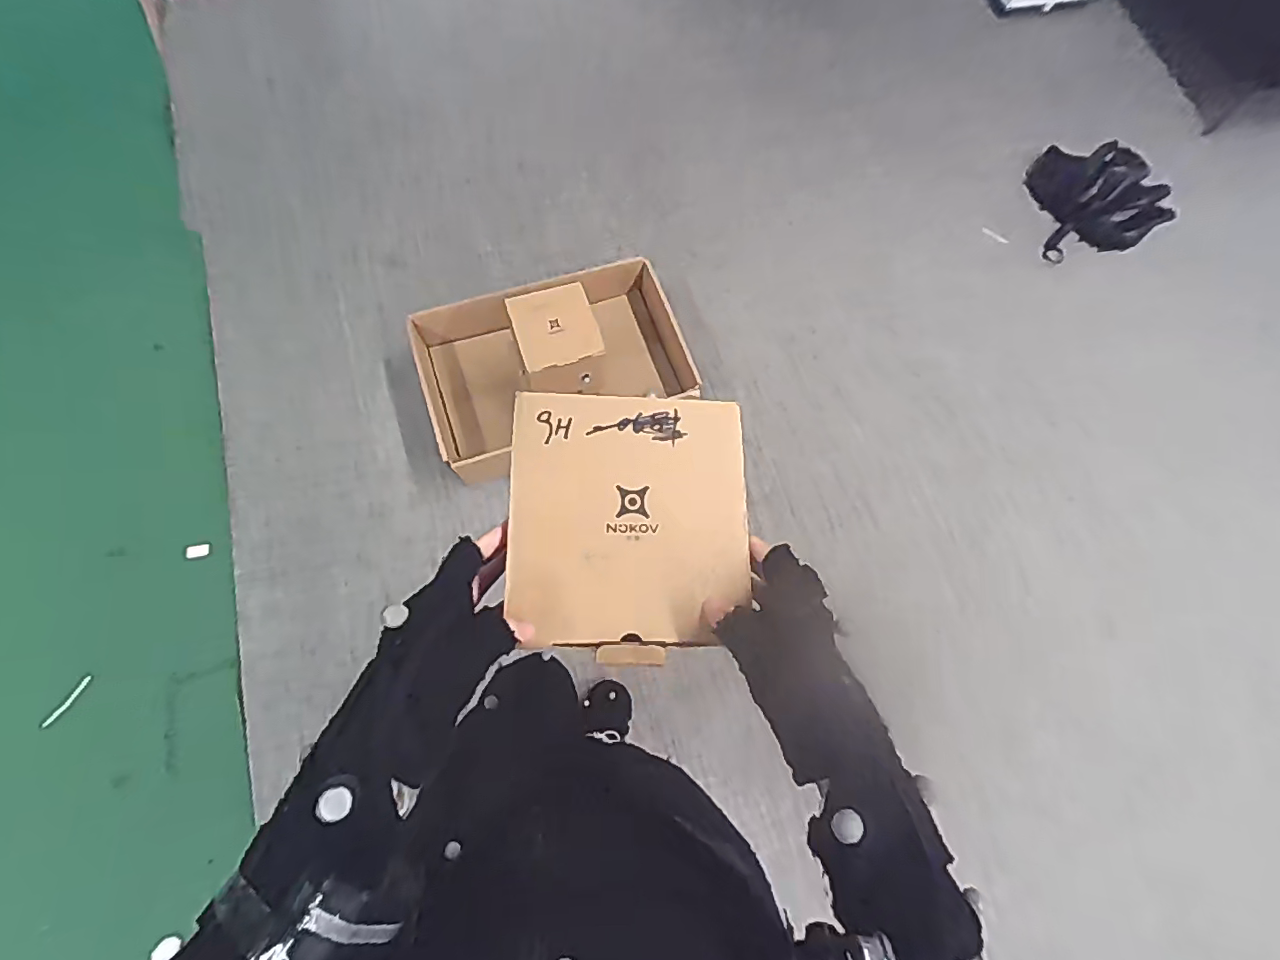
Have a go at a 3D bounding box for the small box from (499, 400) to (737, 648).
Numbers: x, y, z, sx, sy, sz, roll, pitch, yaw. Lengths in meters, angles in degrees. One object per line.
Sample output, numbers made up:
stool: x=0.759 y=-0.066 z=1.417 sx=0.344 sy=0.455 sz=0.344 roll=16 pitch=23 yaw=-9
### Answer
small box: x=-0.022 y=0.045 z=0.462 sx=0.168 sy=0.176 sz=0.179 roll=1 pitch=76 yaw=-7

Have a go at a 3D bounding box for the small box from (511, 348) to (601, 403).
small box: x=-0.201 y=-0.233 z=1.325 sx=0.179 sy=0.176 sz=0.168 roll=-17 pitch=74 yaw=-8

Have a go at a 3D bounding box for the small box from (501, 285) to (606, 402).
small box: x=-0.178 y=-0.275 z=1.153 sx=0.168 sy=0.176 sz=0.179 roll=-22 pitch=76 yaw=-11
